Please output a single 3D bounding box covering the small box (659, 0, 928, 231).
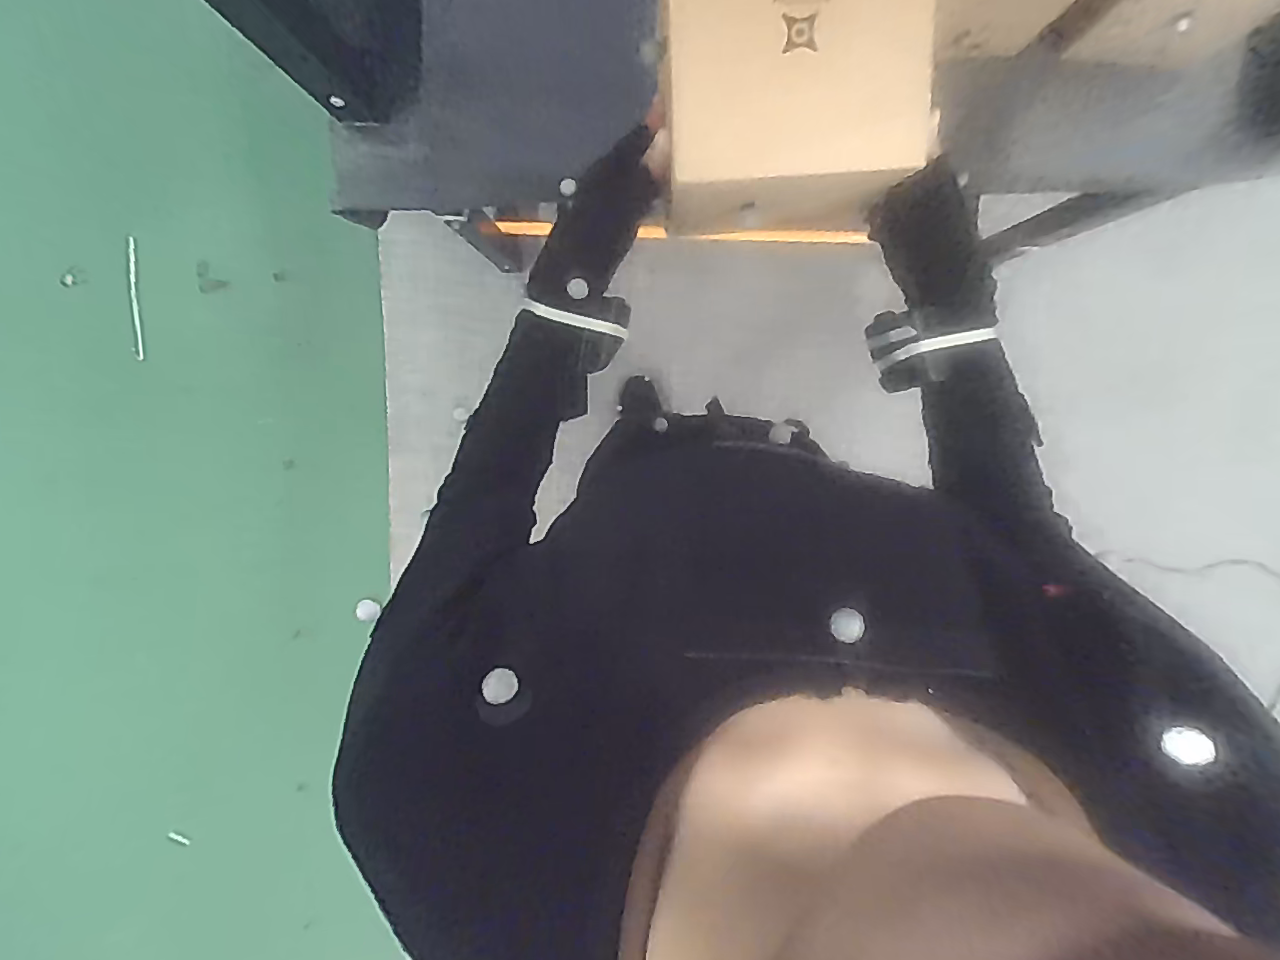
[{"bbox_3d":[0.099,-0.302,0.416,0.168,0.176,0.179,-3,101,2],"label":"small box"}]
